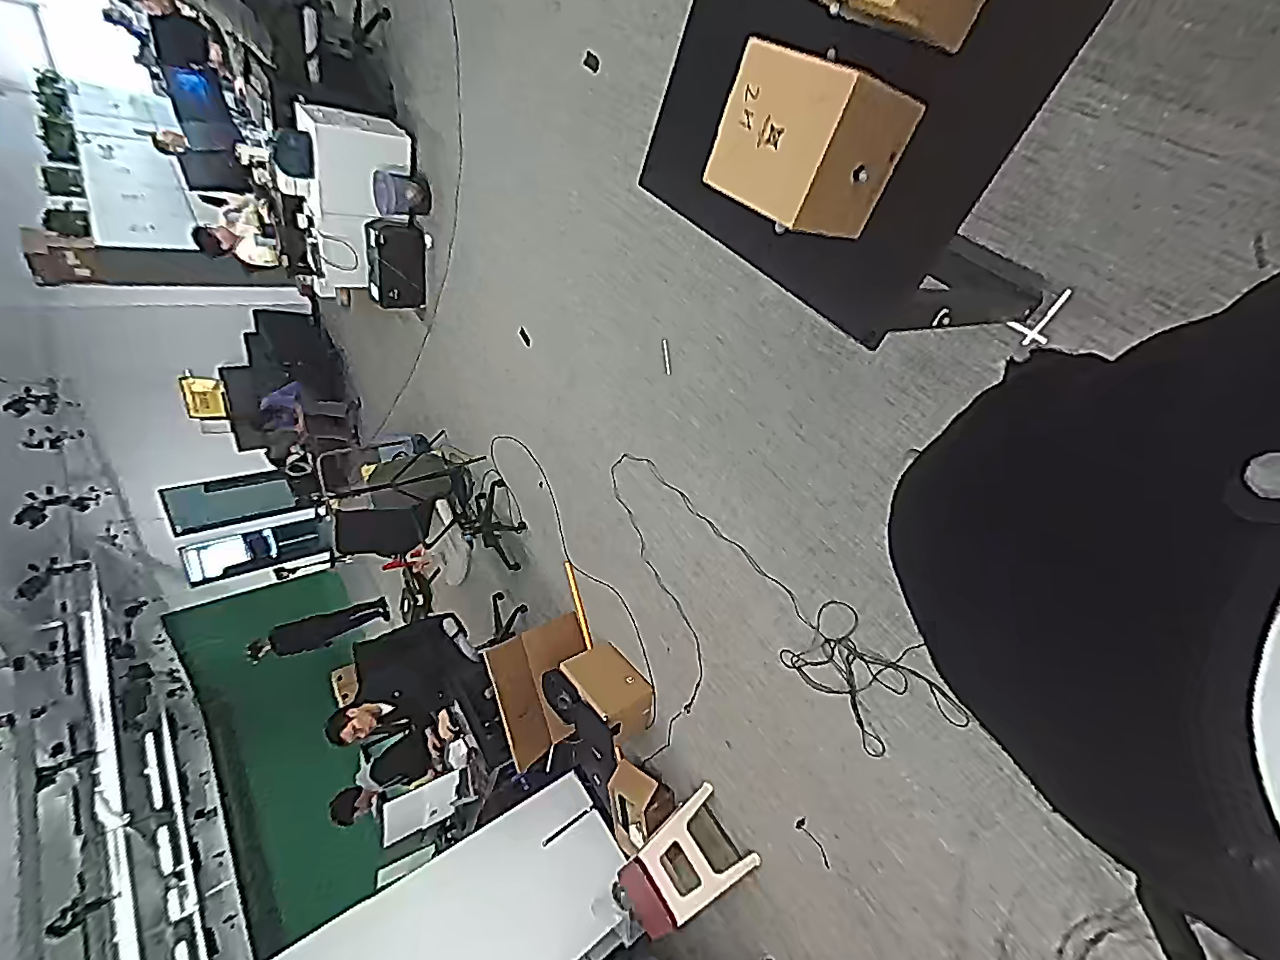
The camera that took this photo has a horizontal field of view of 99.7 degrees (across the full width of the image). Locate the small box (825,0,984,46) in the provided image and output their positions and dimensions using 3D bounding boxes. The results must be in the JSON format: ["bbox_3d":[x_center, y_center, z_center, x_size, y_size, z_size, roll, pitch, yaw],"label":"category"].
[{"bbox_3d":[0.289,-0.606,0.583,0.179,0.176,0.168,49,136,28],"label":"small box"}]
